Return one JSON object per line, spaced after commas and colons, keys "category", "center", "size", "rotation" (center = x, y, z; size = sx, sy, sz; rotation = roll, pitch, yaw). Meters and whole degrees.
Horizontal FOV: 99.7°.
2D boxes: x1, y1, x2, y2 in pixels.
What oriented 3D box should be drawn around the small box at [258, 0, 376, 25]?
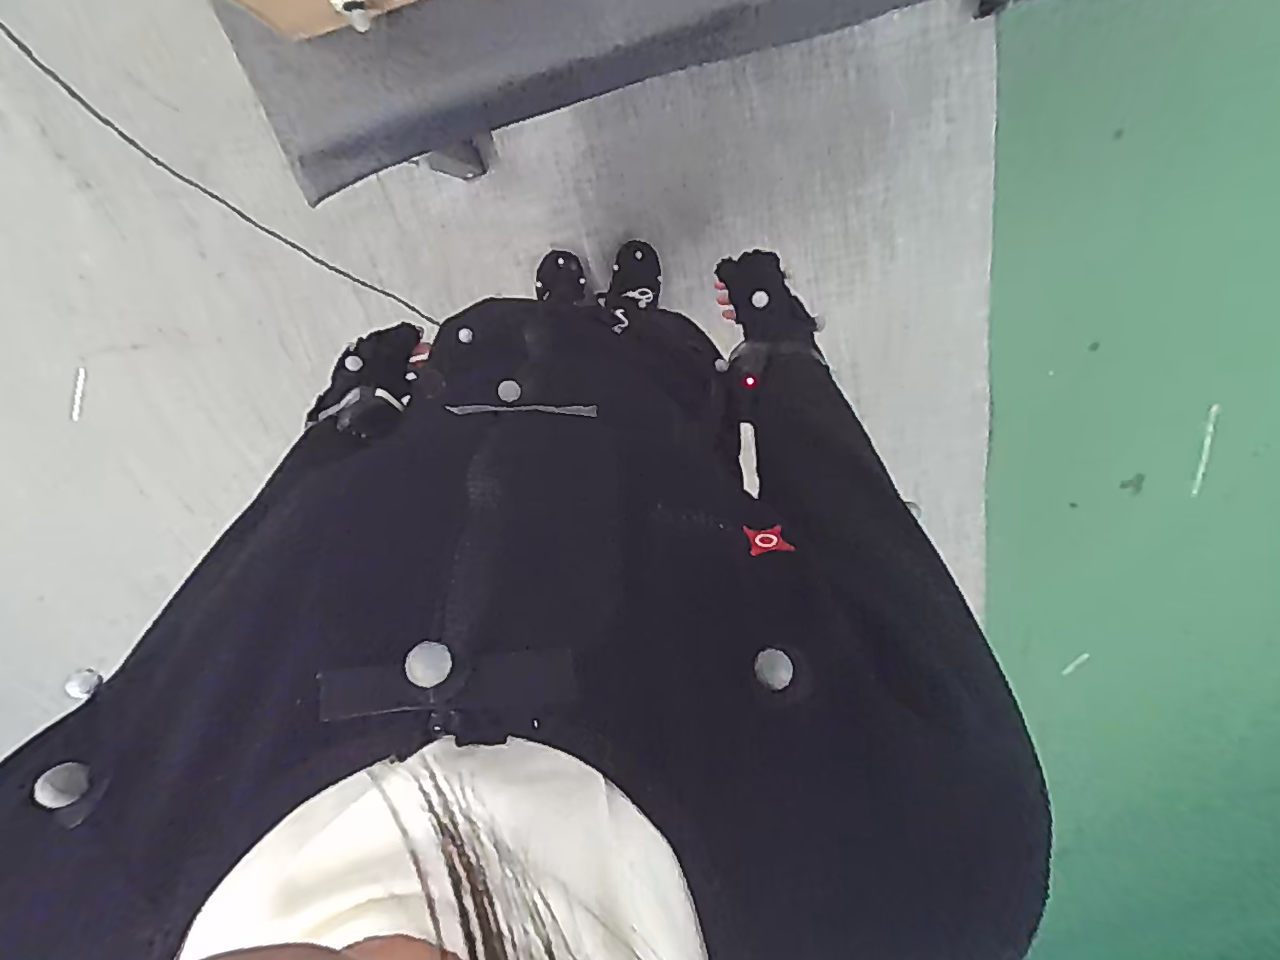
{"category": "small box", "center": [-0.248, -0.452, 0.354], "size": [0.168, 0.176, 0.179], "rotation": [-15, 115, 4]}
